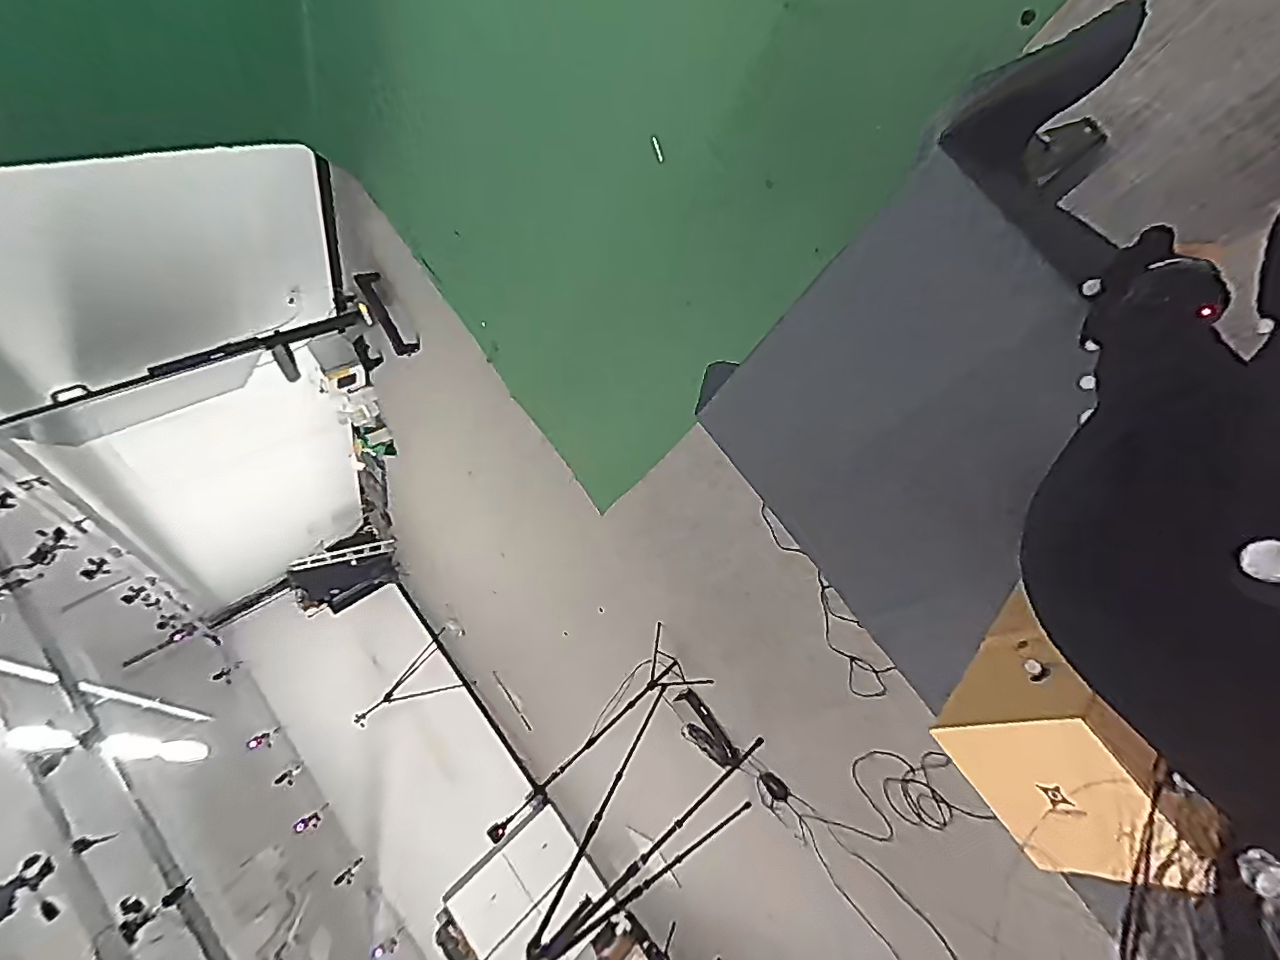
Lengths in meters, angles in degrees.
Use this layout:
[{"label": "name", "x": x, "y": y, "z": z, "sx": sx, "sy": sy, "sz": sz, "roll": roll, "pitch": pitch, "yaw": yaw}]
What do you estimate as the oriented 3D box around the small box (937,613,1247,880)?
[{"label": "small box", "x": 0.463, "y": 0.259, "z": 0.563, "sx": 0.179, "sy": 0.176, "sz": 0.168, "roll": 52, "pitch": 146, "yaw": 9}]
